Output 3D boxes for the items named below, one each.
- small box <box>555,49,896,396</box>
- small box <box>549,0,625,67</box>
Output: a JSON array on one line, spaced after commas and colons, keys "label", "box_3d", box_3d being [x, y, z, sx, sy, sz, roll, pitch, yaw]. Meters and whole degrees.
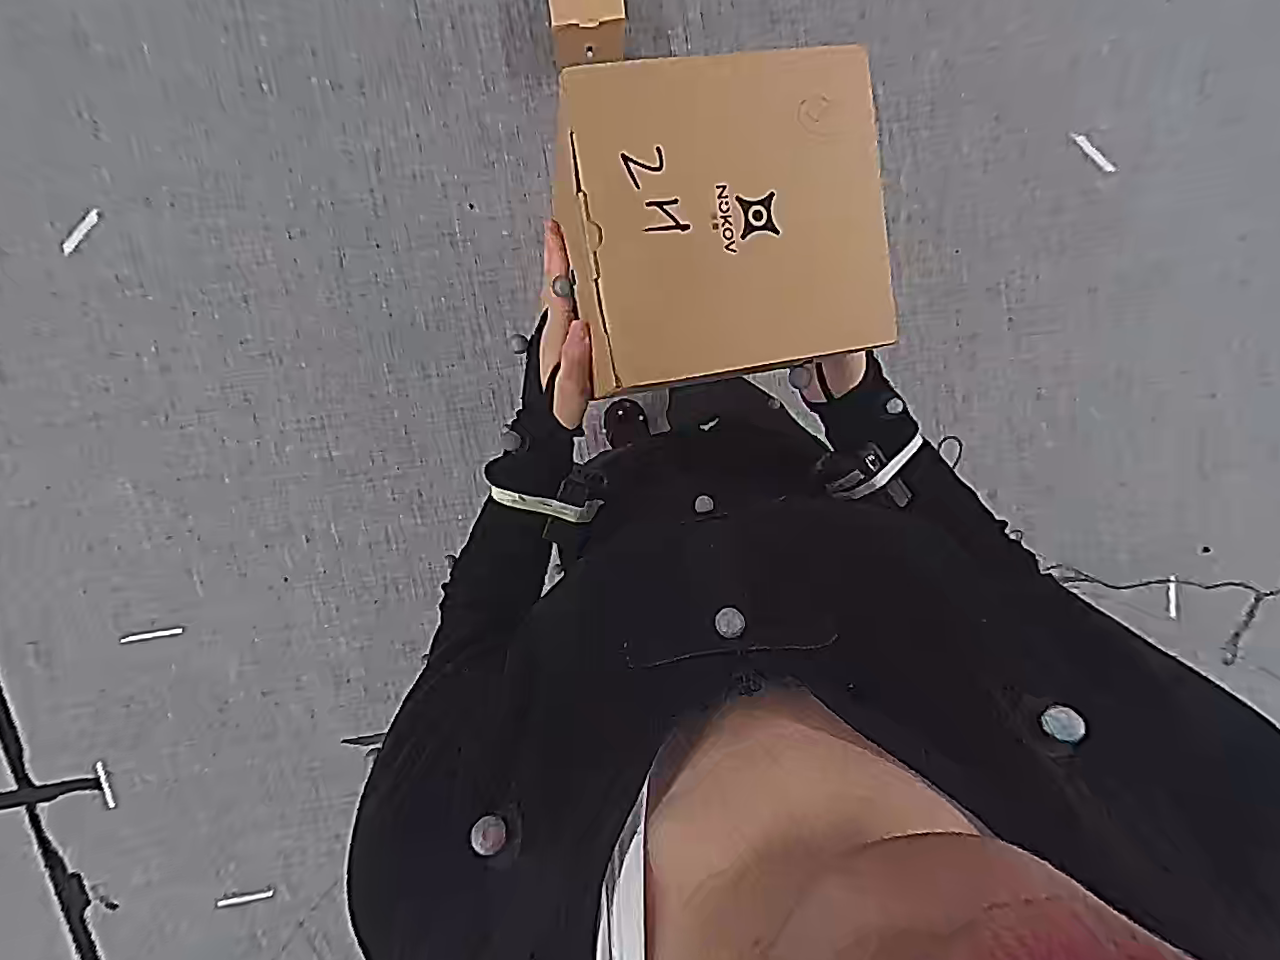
[{"label": "small box", "box_3d": [0.043, -0.155, 0.377, 0.179, 0.176, 0.168, -11, 98, -9]}, {"label": "small box", "box_3d": [-0.126, -1.097, 1.256, 0.168, 0.176, 0.179, -7, 99, -4]}]
